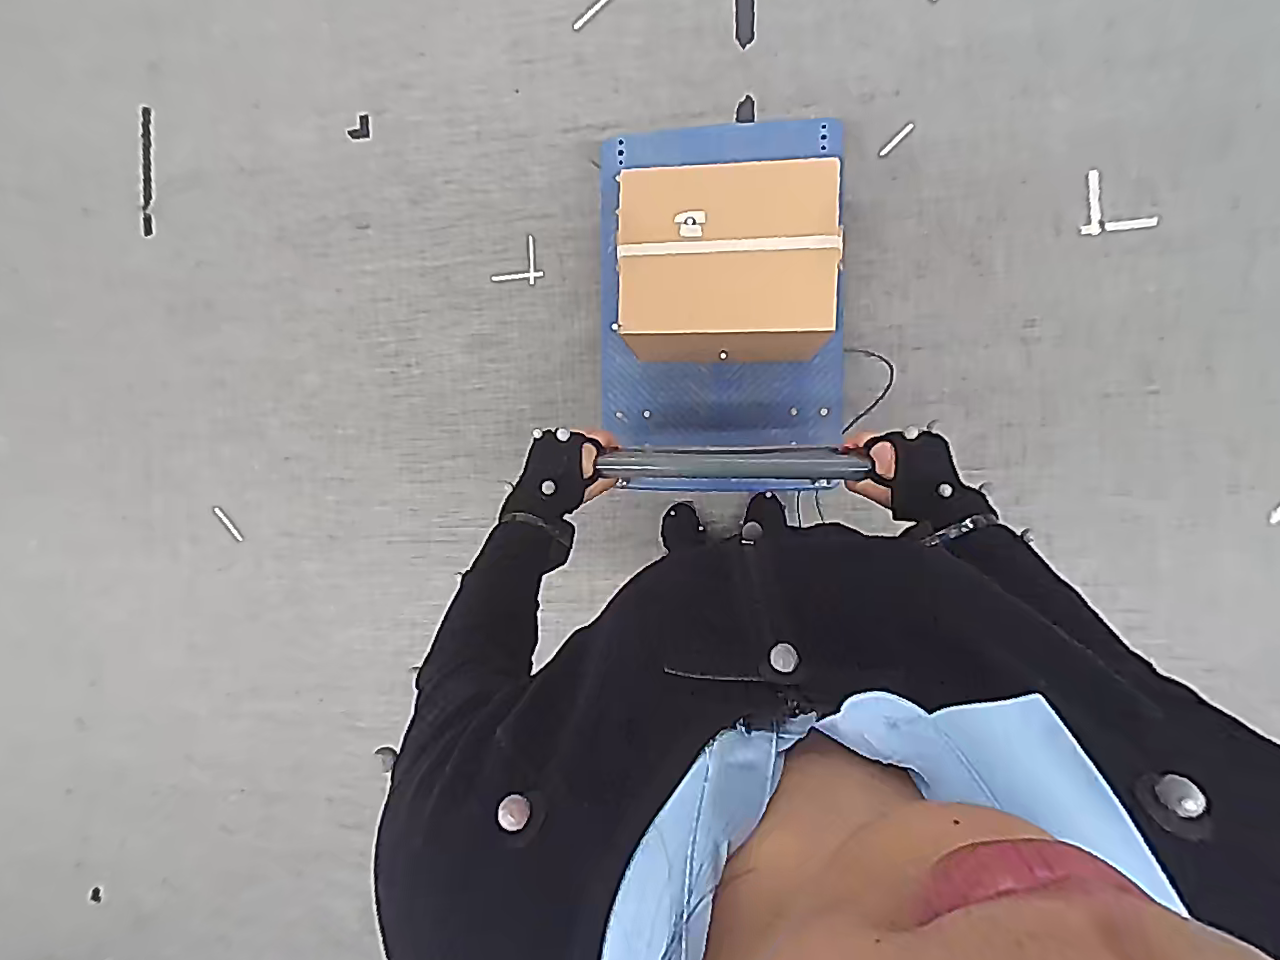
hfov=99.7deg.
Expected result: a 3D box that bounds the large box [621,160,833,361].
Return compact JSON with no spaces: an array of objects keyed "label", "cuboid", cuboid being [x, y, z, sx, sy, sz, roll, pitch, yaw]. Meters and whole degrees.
[{"label":"large box","cuboid":[0.184,-0.442,1.175,0.408,0.320,0.320,1,91,9]}]
